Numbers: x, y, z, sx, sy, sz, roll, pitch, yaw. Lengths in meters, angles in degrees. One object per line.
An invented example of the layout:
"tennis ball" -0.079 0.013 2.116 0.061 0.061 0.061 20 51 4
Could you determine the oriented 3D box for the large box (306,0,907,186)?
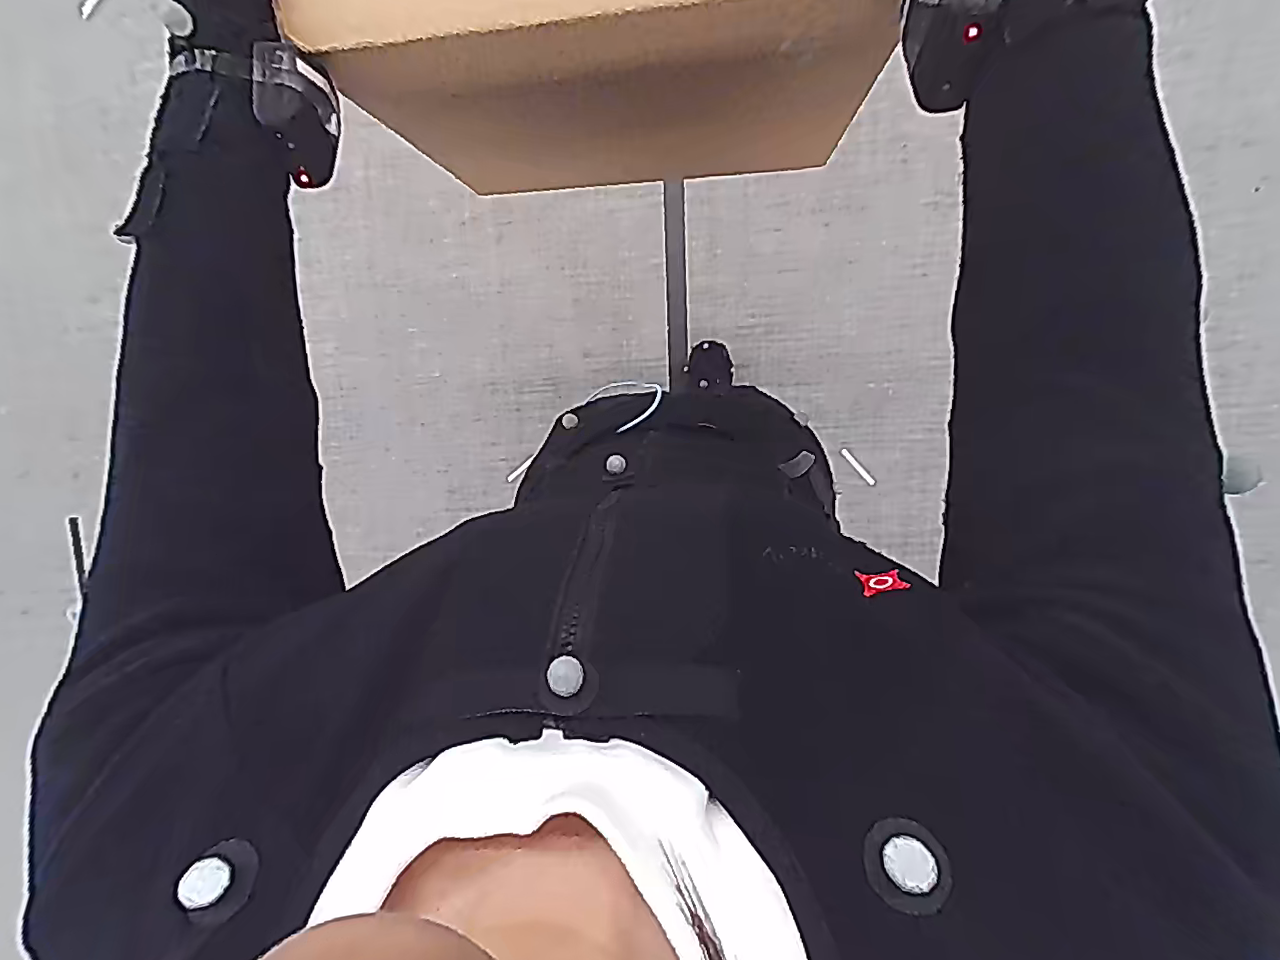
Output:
"large box" -0.016 -0.476 0.448 0.408 0.320 0.320 -2 103 6
